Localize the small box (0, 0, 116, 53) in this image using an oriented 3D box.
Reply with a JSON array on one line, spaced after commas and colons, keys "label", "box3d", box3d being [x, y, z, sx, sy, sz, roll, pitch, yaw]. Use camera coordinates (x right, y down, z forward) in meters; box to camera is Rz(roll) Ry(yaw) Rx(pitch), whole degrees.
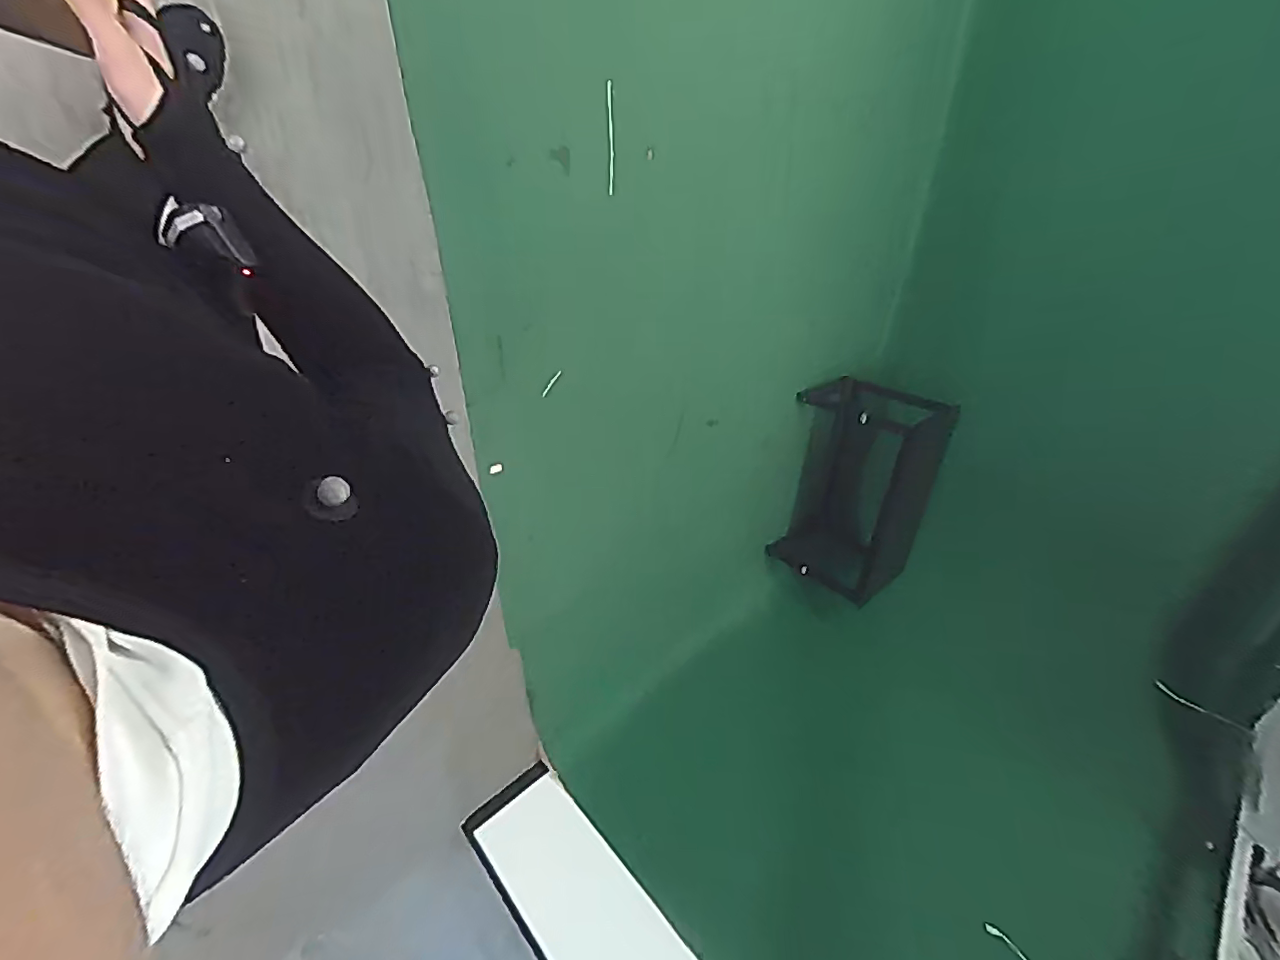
[{"label": "small box", "box3d": [-0.487, -0.442, 0.378, 0.168, 0.176, 0.179, -6, 114, -43]}]
